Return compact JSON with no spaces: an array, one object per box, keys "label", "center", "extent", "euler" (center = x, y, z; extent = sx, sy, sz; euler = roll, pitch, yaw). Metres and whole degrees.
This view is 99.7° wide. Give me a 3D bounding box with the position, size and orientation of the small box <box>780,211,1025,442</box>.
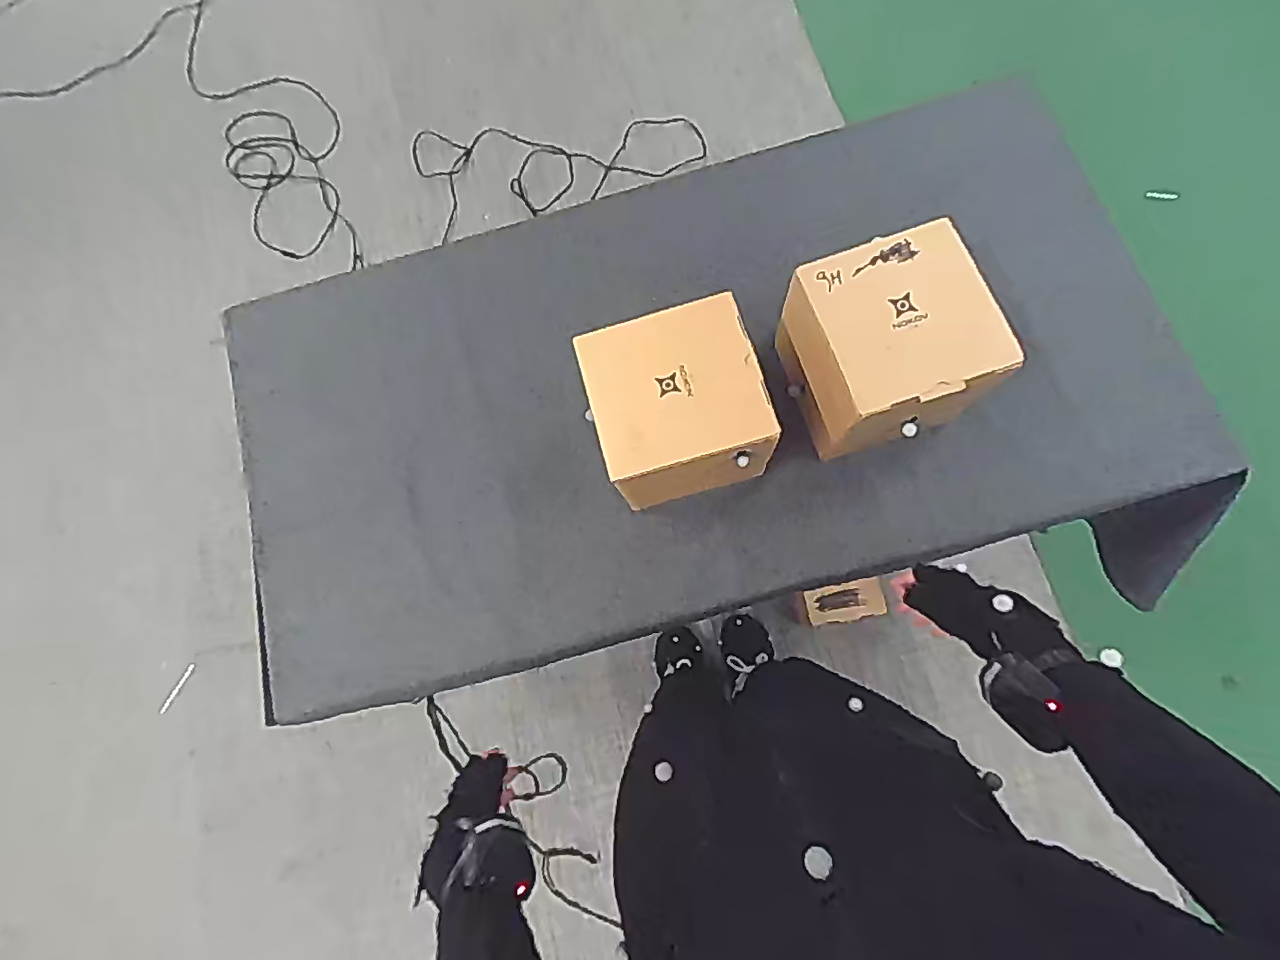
[{"label":"small box","center":[0.273,-0.154,0.609],"extent":[0.168,0.176,0.179],"euler":[-17,77,1]}]
